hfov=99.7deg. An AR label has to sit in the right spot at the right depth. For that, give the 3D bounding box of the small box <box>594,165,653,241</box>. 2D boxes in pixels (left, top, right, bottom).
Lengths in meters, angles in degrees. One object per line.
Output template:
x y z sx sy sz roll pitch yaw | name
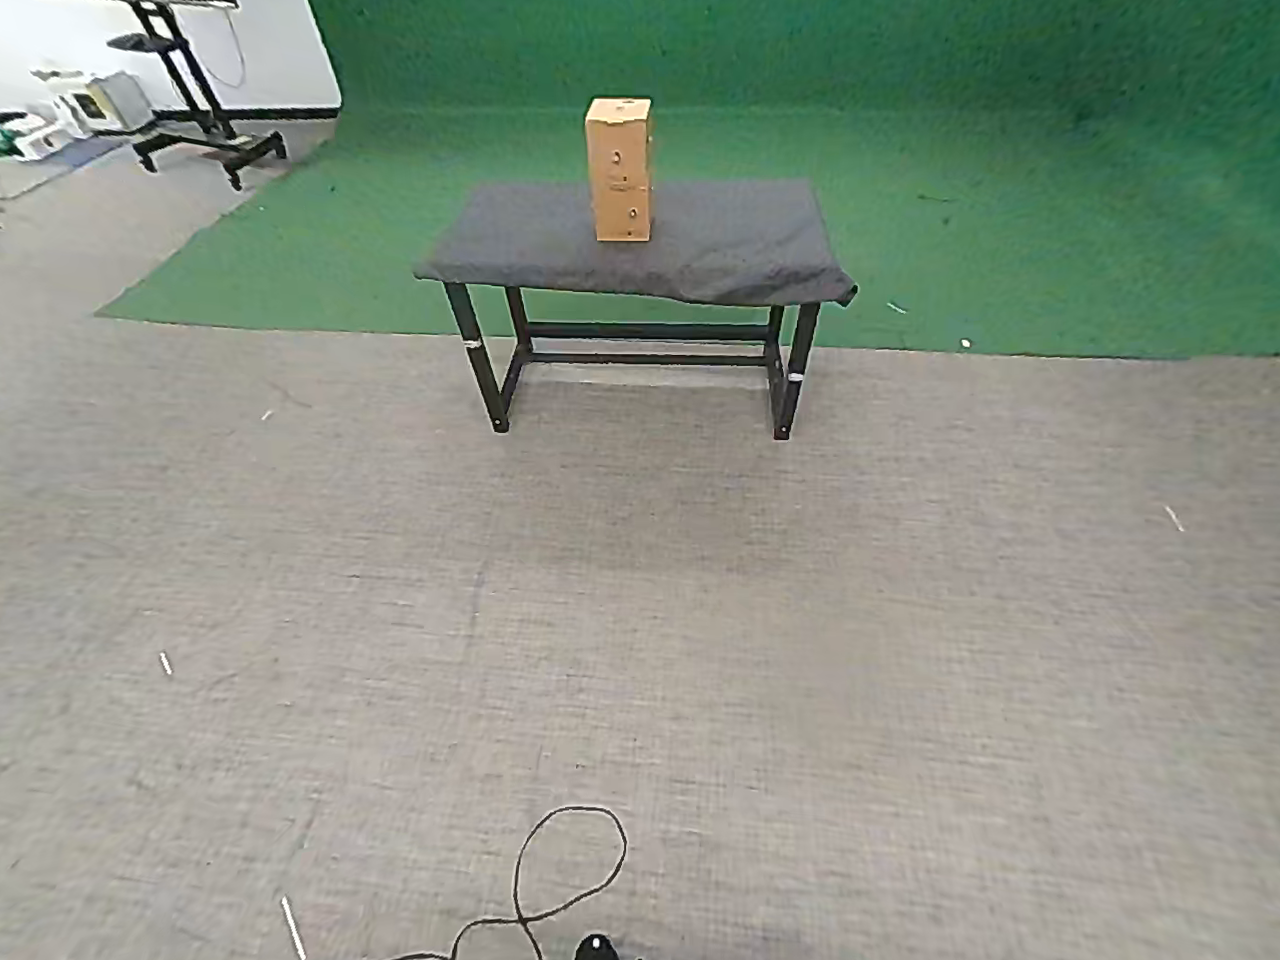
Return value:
-0.045 -0.862 1.683 0.168 0.176 0.179 3 50 3 | small box

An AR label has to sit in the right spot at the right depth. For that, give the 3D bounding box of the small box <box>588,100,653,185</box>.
-0.051 -0.971 1.560 0.168 0.176 0.179 4 52 4 | small box
